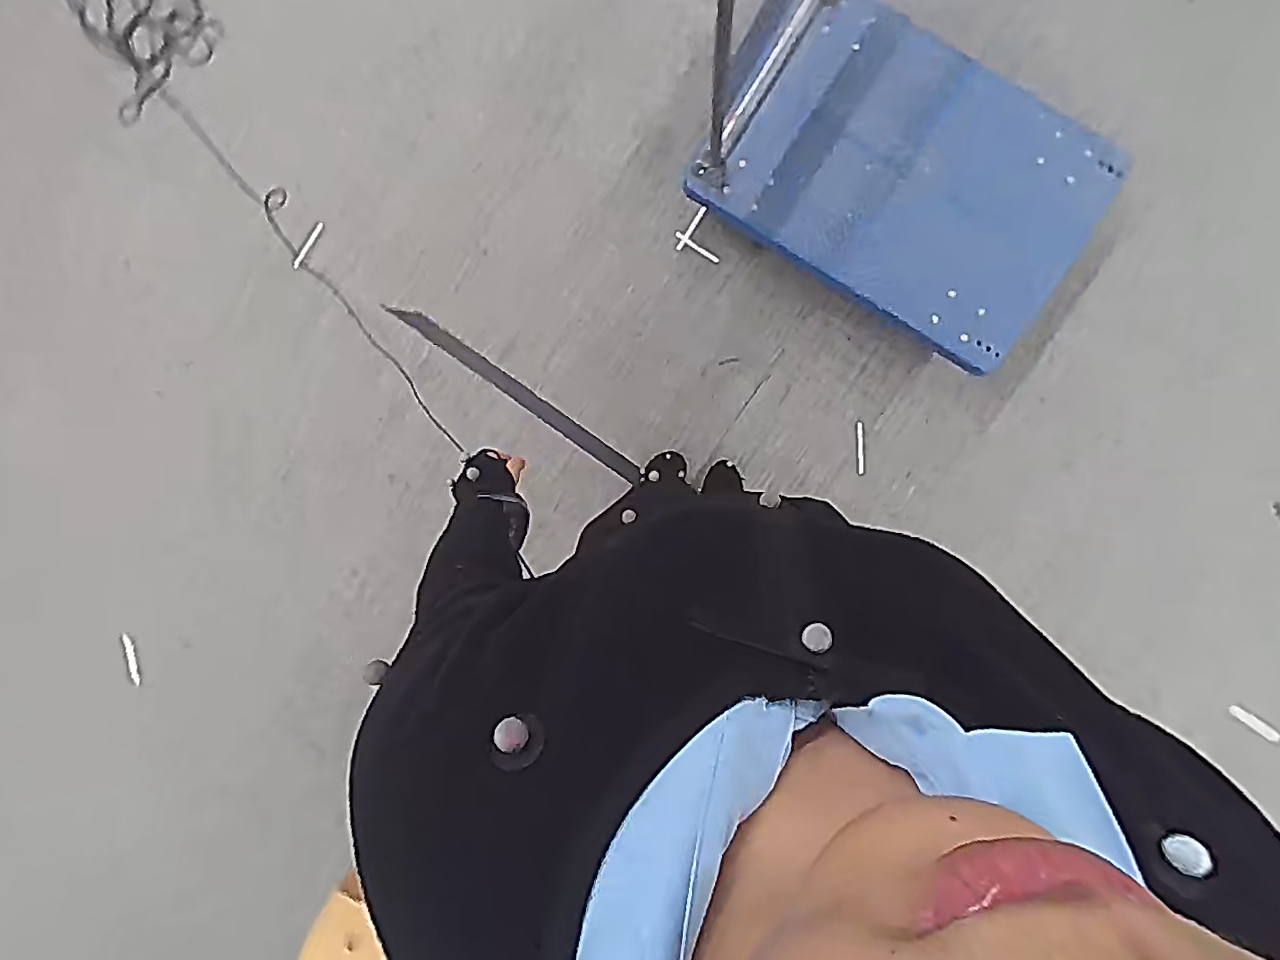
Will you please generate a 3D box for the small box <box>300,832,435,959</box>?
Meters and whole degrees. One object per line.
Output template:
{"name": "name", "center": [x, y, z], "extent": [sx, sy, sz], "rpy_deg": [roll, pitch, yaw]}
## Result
{"name": "small box", "center": [-0.572, 0.917, 1.161], "extent": [0.168, 0.176, 0.179], "rpy_deg": [27, 93, 2]}
